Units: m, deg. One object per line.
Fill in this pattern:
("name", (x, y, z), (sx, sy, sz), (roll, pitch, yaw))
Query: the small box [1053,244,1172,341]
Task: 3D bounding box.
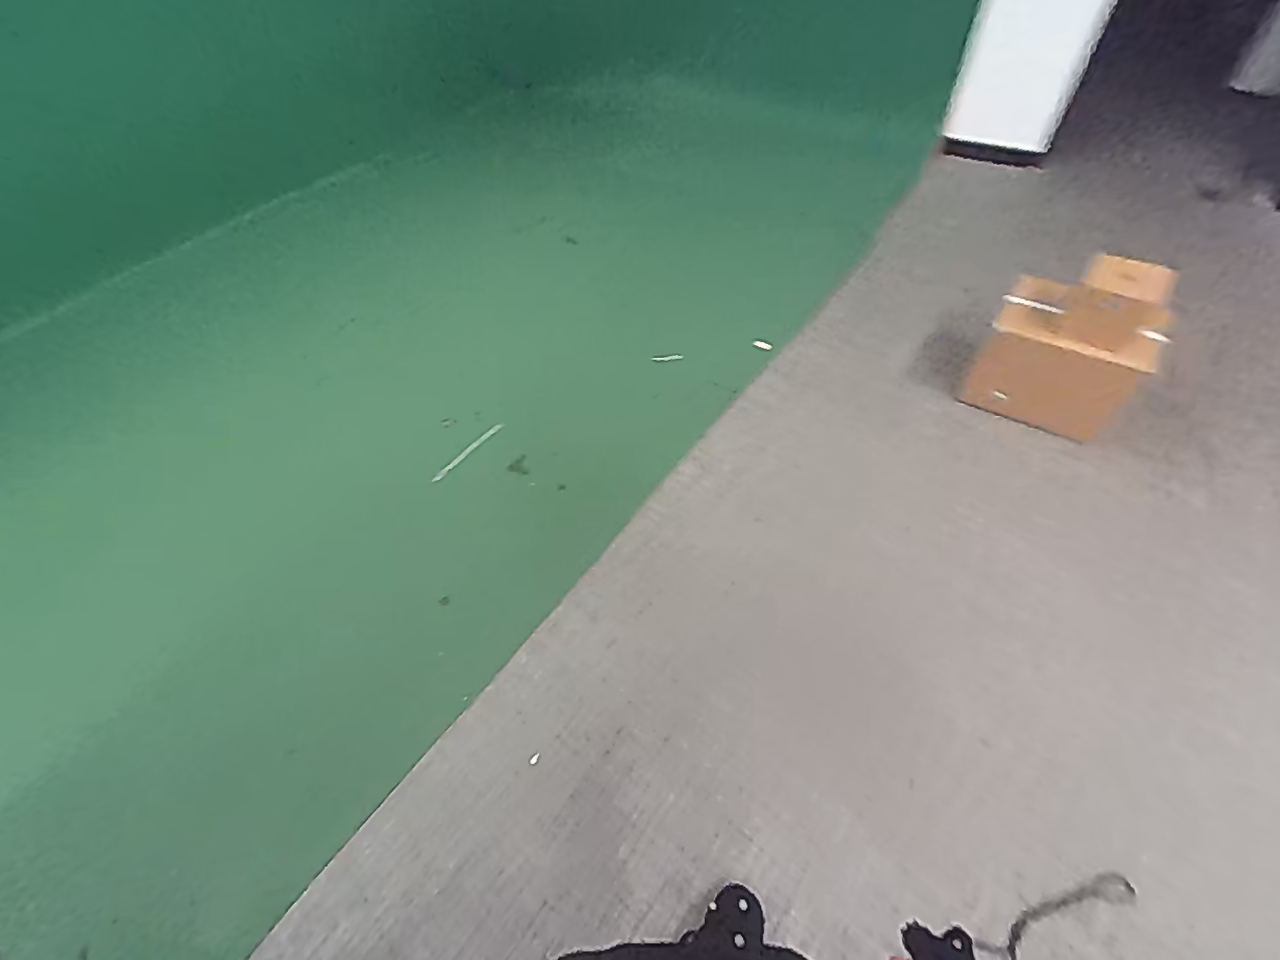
("small box", (1.287, -0.511, 1.486), (0.179, 0.176, 0.168), (30, 65, 24))
